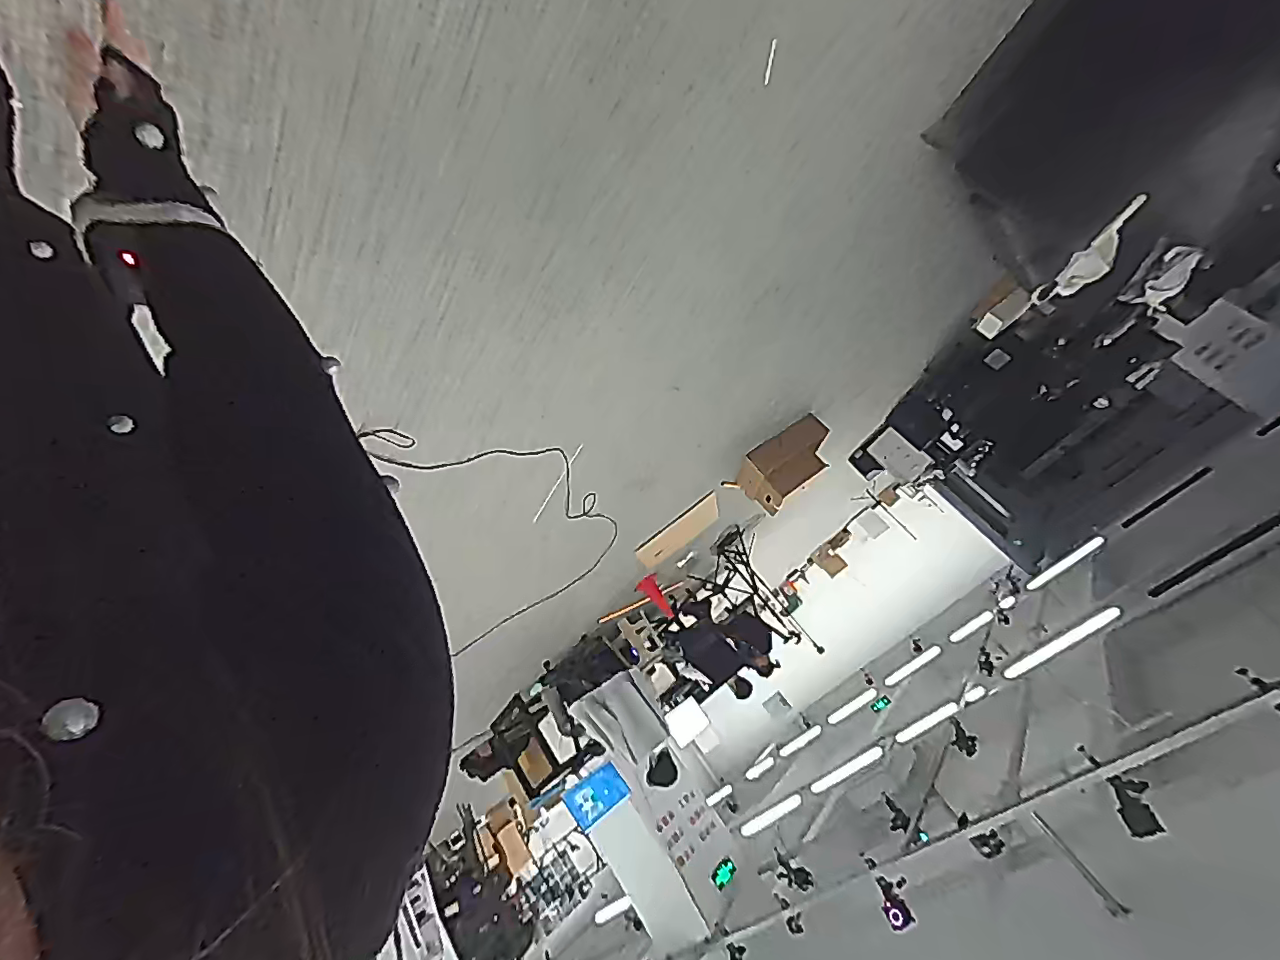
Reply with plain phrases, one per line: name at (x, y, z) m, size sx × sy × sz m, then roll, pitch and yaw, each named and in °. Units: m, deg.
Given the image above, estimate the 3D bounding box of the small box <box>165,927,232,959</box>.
small box at (-1.082, 1.222, 1.284) m, size 0.179 × 0.176 × 0.168 m, roll -9°, pitch 143°, yaw -51°
